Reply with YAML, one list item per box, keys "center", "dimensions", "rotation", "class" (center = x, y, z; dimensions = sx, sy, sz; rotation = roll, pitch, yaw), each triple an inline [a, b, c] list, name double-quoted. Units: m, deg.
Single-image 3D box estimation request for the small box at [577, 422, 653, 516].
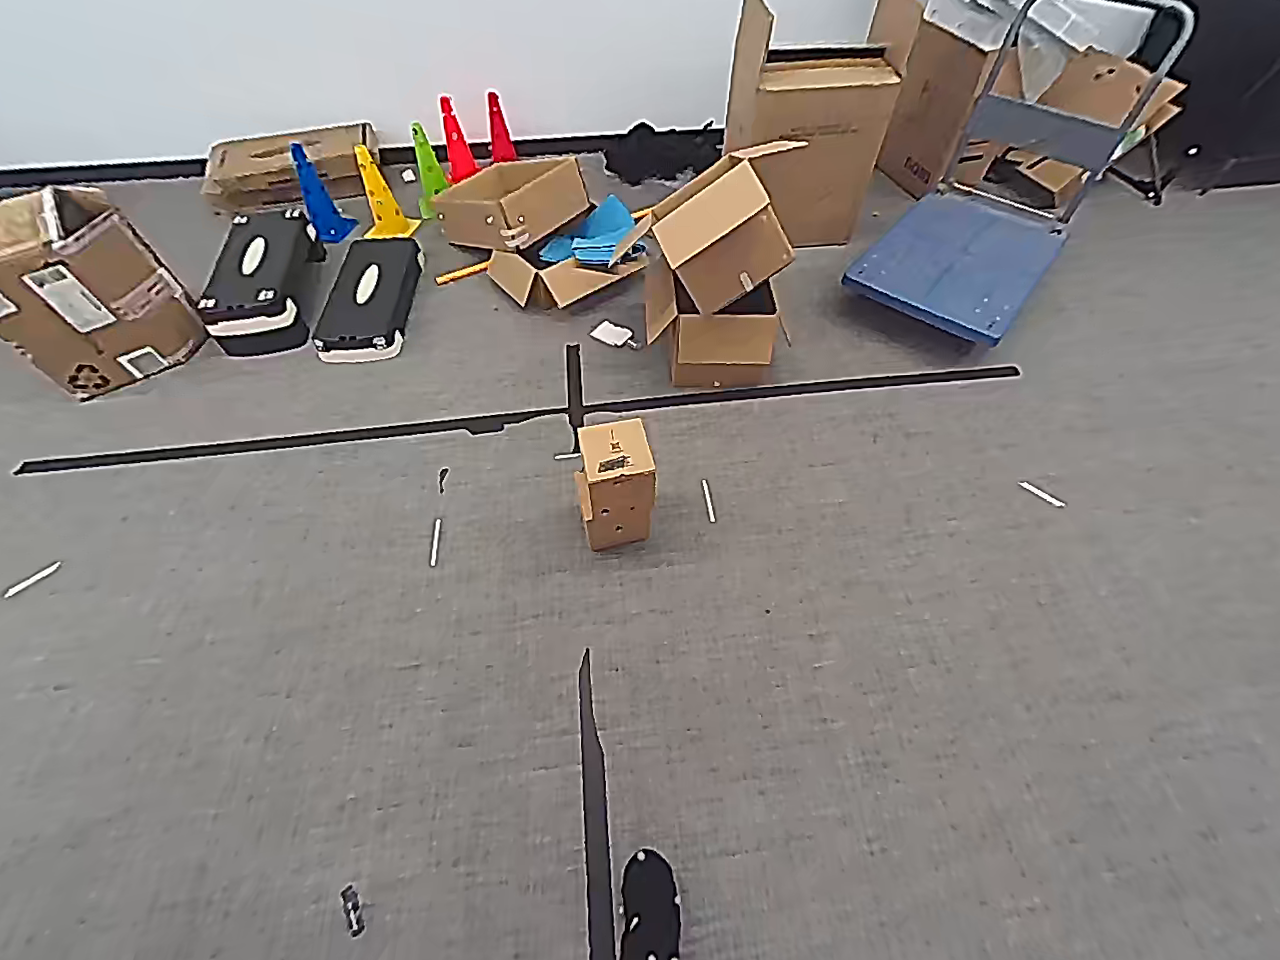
- center: [-0.063, -0.021, 1.388]
  dimensions: [0.168, 0.176, 0.179]
  rotation: [-10, 54, -8]
  class: "small box"
